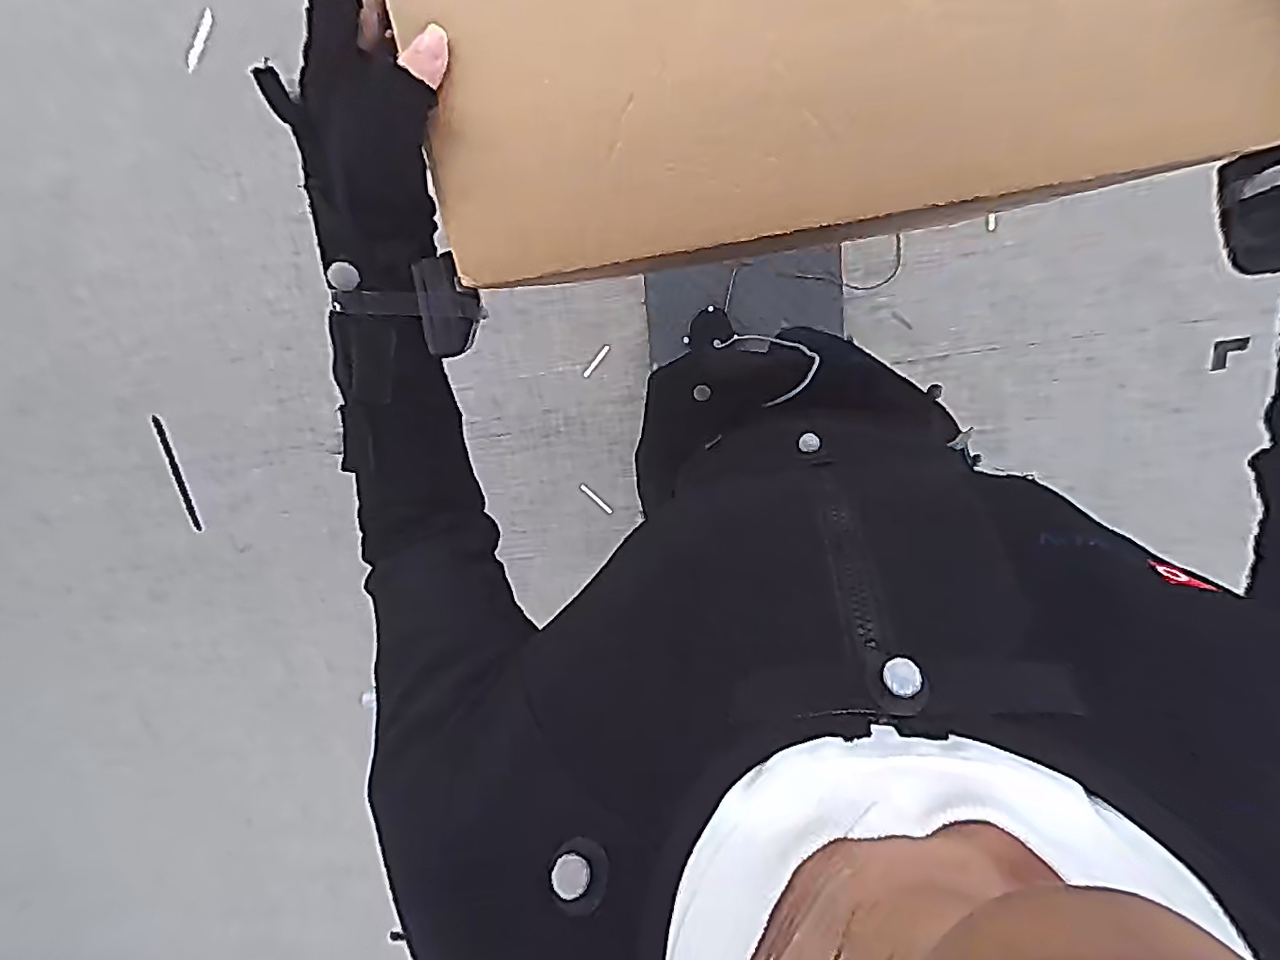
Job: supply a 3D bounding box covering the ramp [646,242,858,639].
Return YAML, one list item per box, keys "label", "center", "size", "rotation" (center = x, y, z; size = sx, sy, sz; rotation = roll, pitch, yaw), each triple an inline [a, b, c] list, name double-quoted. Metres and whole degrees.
- label: "ramp"
  center: [0.286, -0.077, 1.405]
  size: [0.509, 0.206, 0.991]
  rotation: [-5, 104, 11]

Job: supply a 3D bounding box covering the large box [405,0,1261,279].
- label: "large box"
  center: [0.085, -0.340, 0.383]
  size: [0.408, 0.320, 0.320]
  rotation: [-6, 110, 10]
